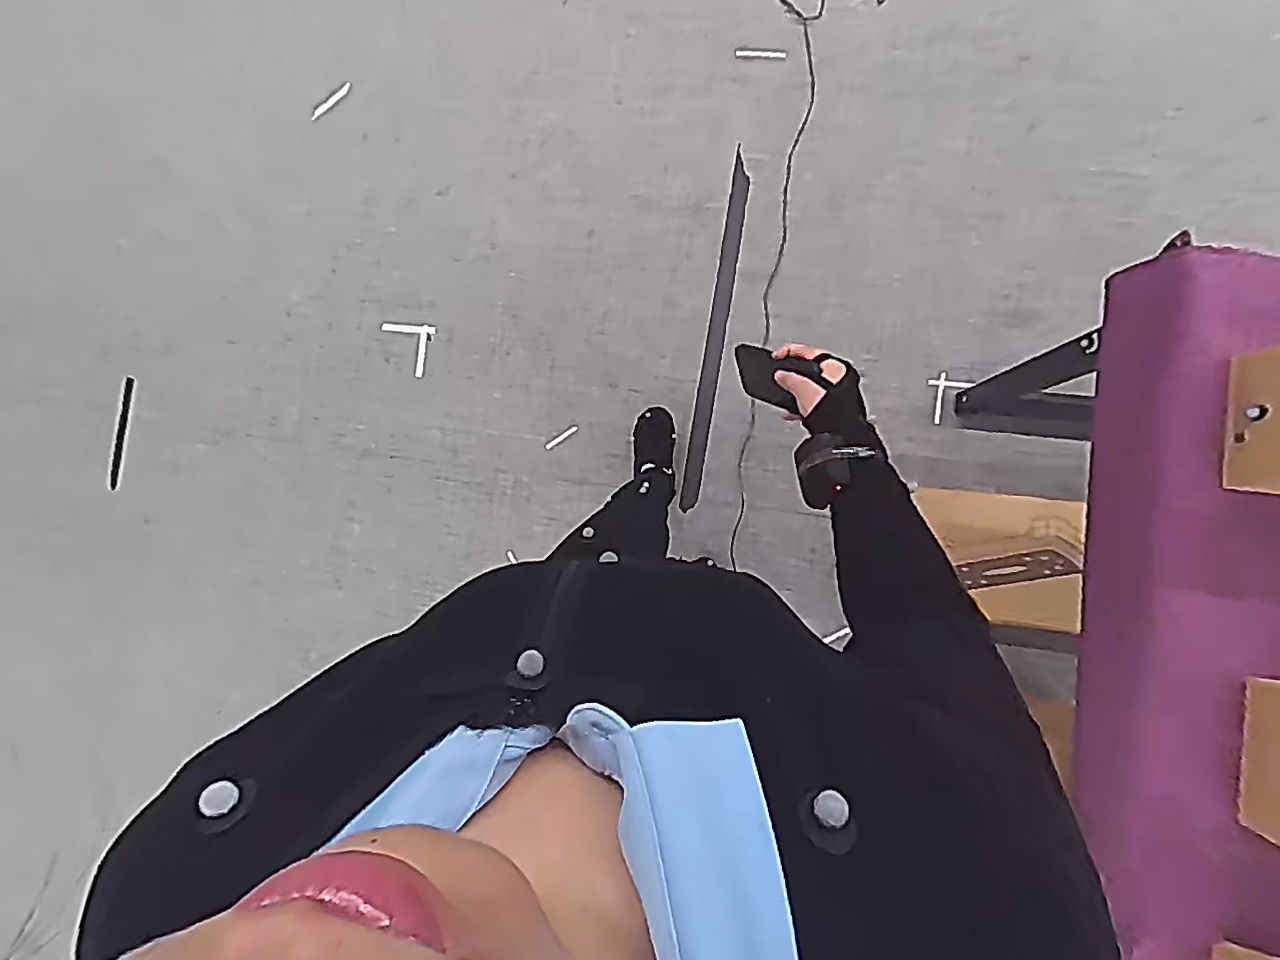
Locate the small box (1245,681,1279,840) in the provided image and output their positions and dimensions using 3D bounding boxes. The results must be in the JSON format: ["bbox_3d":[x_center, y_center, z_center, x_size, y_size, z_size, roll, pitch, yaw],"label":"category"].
[{"bbox_3d":[0.794,0.330,0.555,0.168,0.176,0.179,6,88,5],"label":"small box"}]
